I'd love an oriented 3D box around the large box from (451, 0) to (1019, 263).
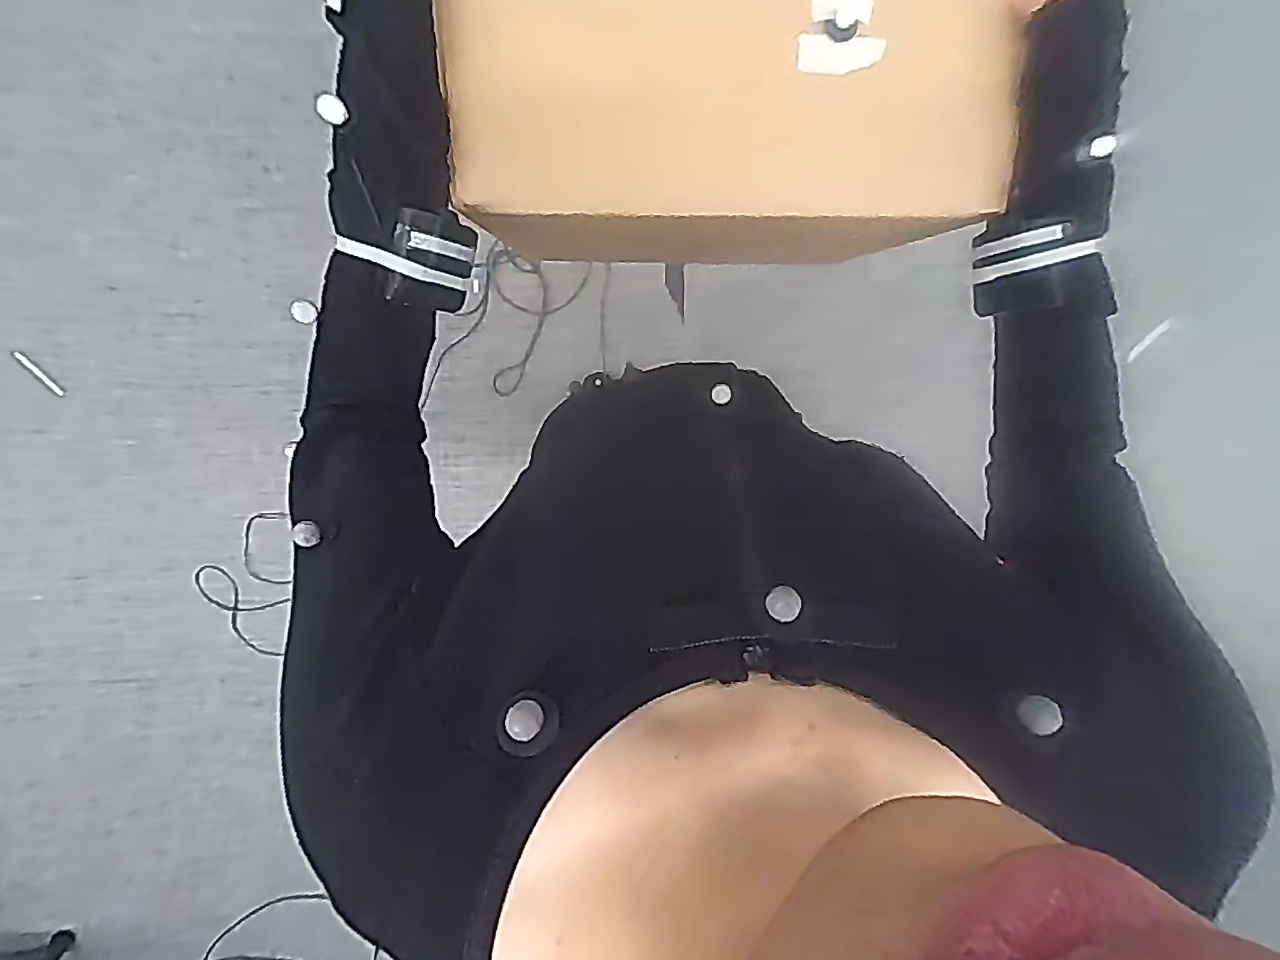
[{"bbox_3d":[0.060,-0.392,0.511,0.408,0.320,0.320,-1,106,-3],"label":"large box"}]
